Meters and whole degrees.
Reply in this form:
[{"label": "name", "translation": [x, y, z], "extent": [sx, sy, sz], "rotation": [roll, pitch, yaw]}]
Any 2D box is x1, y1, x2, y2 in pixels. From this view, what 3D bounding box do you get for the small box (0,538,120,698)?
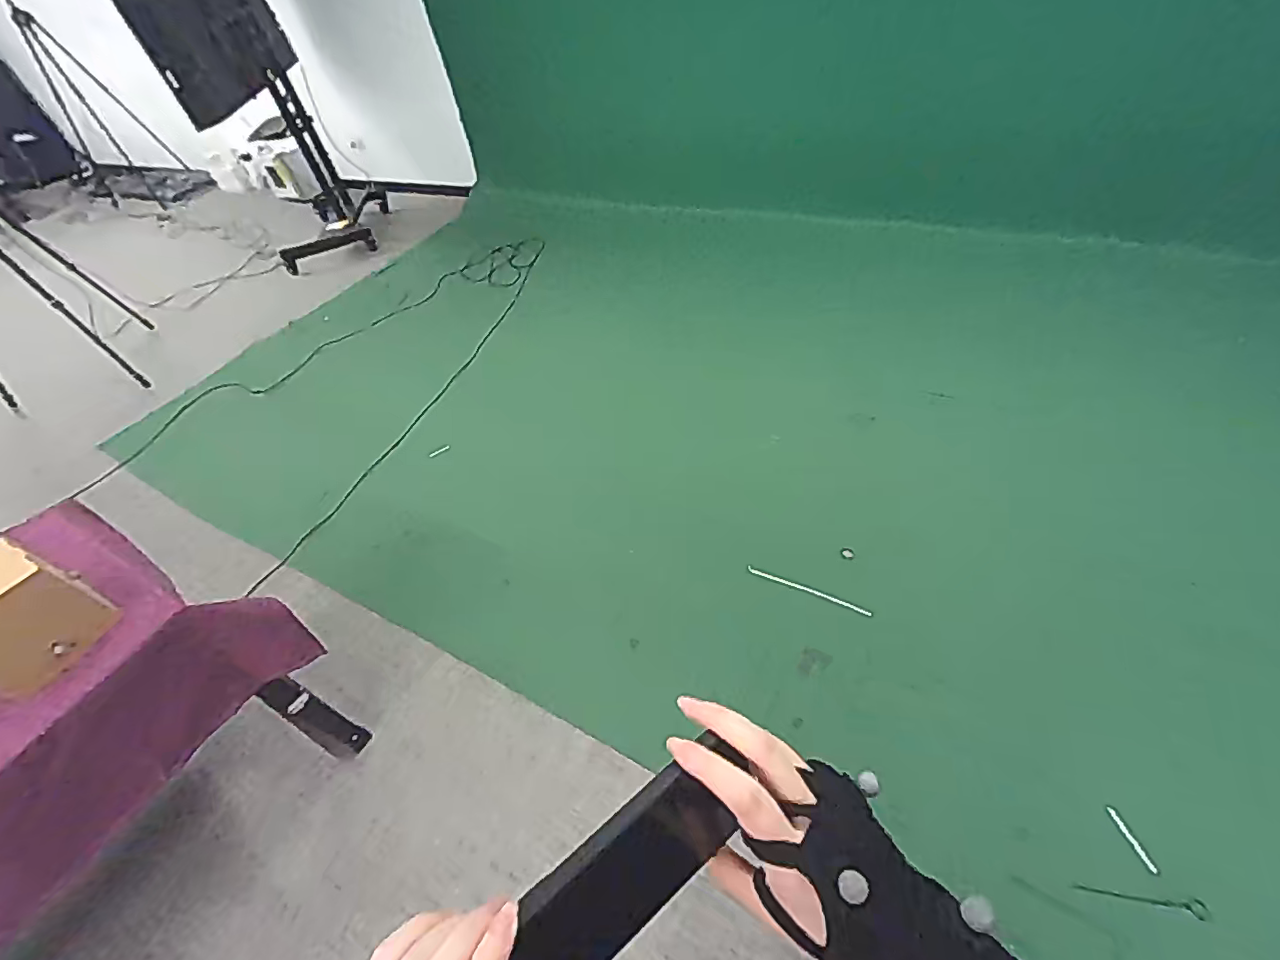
[{"label": "small box", "translation": [-1.057, 0.235, 0.924], "extent": [0.168, 0.176, 0.179], "rotation": [17, 53, 25]}]
